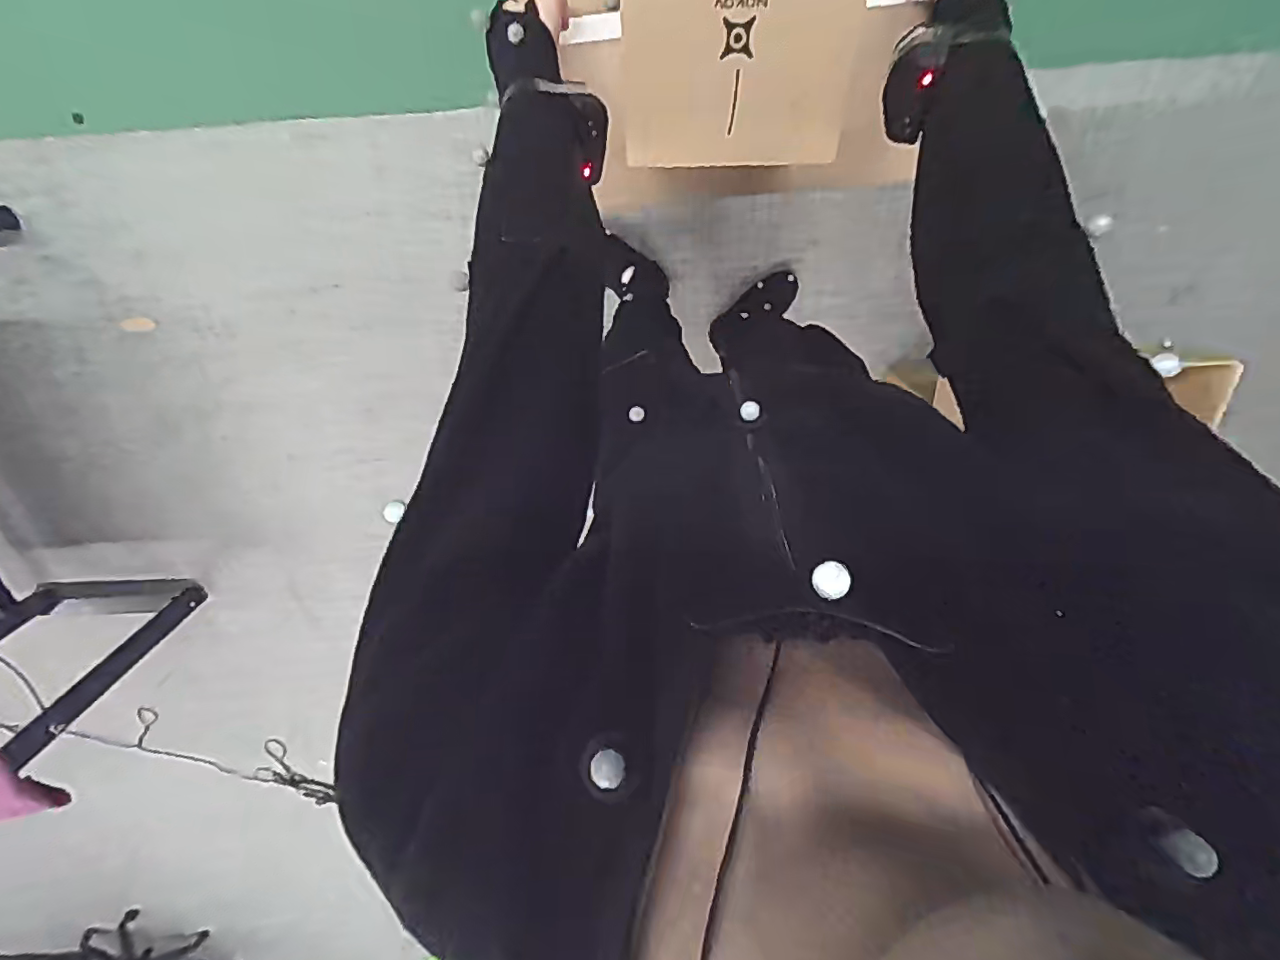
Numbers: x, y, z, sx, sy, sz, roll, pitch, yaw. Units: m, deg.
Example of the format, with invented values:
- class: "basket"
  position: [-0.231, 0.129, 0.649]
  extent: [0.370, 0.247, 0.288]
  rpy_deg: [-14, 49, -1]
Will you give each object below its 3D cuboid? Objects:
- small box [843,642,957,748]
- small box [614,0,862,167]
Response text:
- class: "small box"
  position: [0.670, 0.556, 1.415]
  extent: [0.179, 0.176, 0.168]
  rpy_deg: [28, 115, -14]
- class: "small box"
  position: [0.066, -0.360, 0.419]
  extent: [0.168, 0.176, 0.179]
  rpy_deg: [0, 132, 3]
